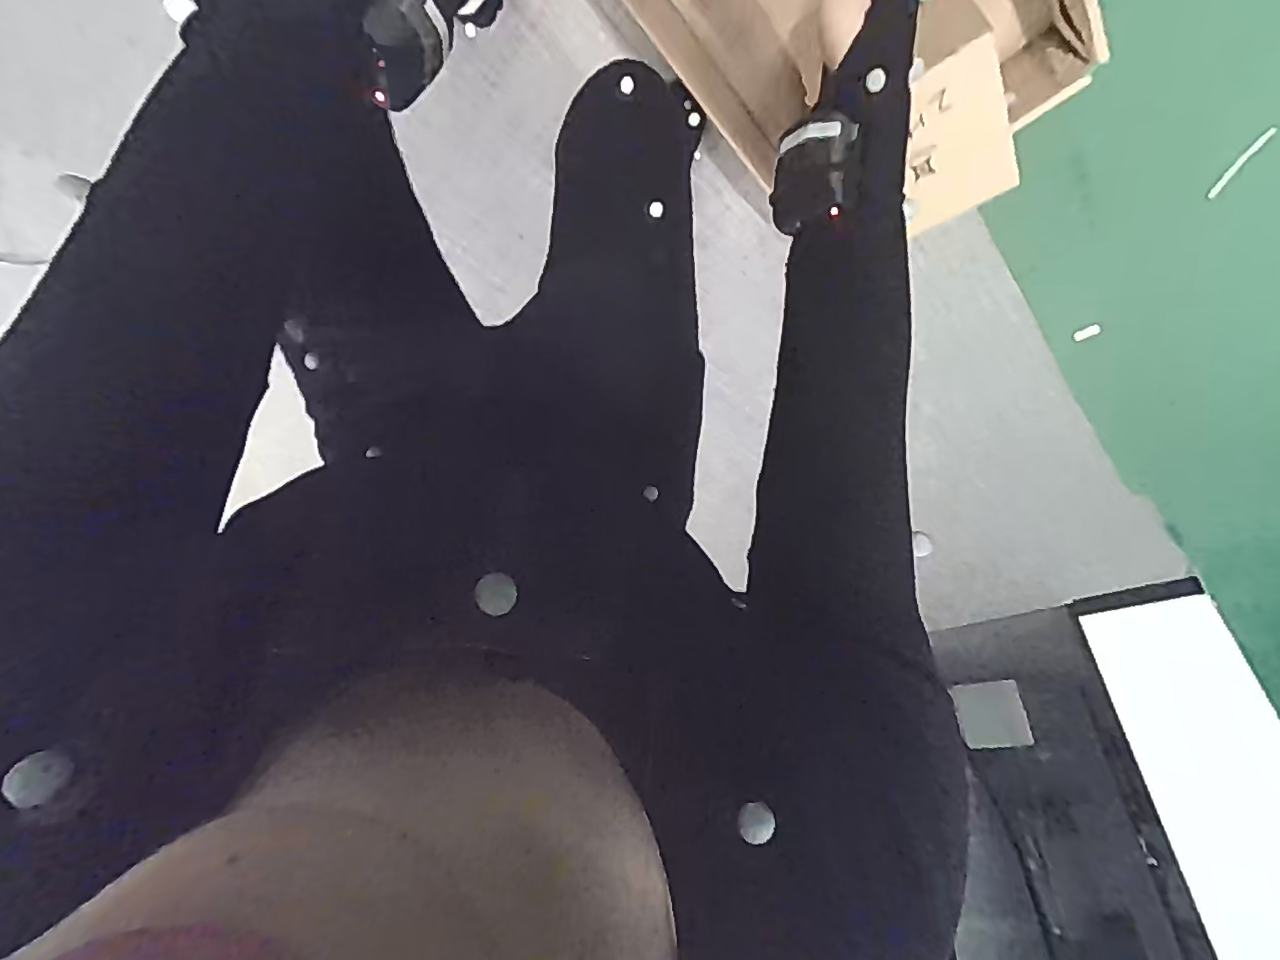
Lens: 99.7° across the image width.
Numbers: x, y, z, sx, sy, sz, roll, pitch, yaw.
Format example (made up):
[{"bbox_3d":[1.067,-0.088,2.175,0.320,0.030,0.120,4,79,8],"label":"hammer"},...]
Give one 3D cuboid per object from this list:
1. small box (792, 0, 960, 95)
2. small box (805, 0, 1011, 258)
[{"bbox_3d":[0.320,-0.552,0.723,0.179,0.176,0.168,-19,141,33],"label":"small box"},{"bbox_3d":[0.309,-0.412,0.636,0.168,0.176,0.179,-20,140,31],"label":"small box"}]
